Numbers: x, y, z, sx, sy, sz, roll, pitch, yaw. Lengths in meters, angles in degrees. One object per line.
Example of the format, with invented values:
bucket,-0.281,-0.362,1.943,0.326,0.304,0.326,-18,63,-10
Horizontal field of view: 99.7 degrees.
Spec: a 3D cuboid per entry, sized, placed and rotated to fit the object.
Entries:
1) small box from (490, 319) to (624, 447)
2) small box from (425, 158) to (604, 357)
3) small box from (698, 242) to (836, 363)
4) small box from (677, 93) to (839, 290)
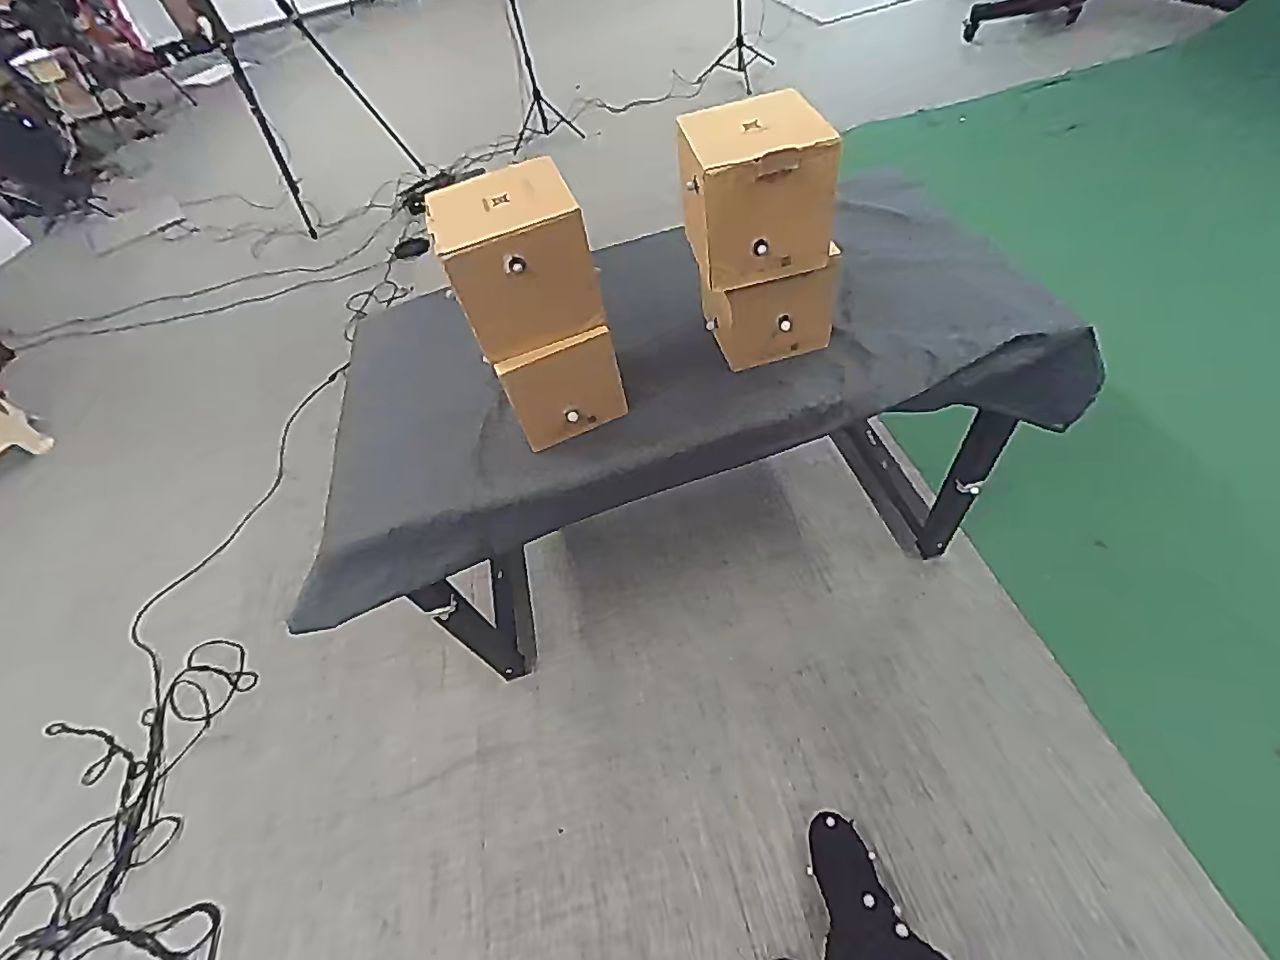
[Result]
small box,-0.139,-0.185,0.847,0.168,0.176,0.179,-24,53,-7
small box,-0.163,-0.294,0.729,0.179,0.176,0.168,-20,54,-6
small box,0.197,-0.311,0.879,0.168,0.176,0.179,-16,53,-1
small box,0.151,-0.392,0.742,0.168,0.176,0.179,-13,53,1
